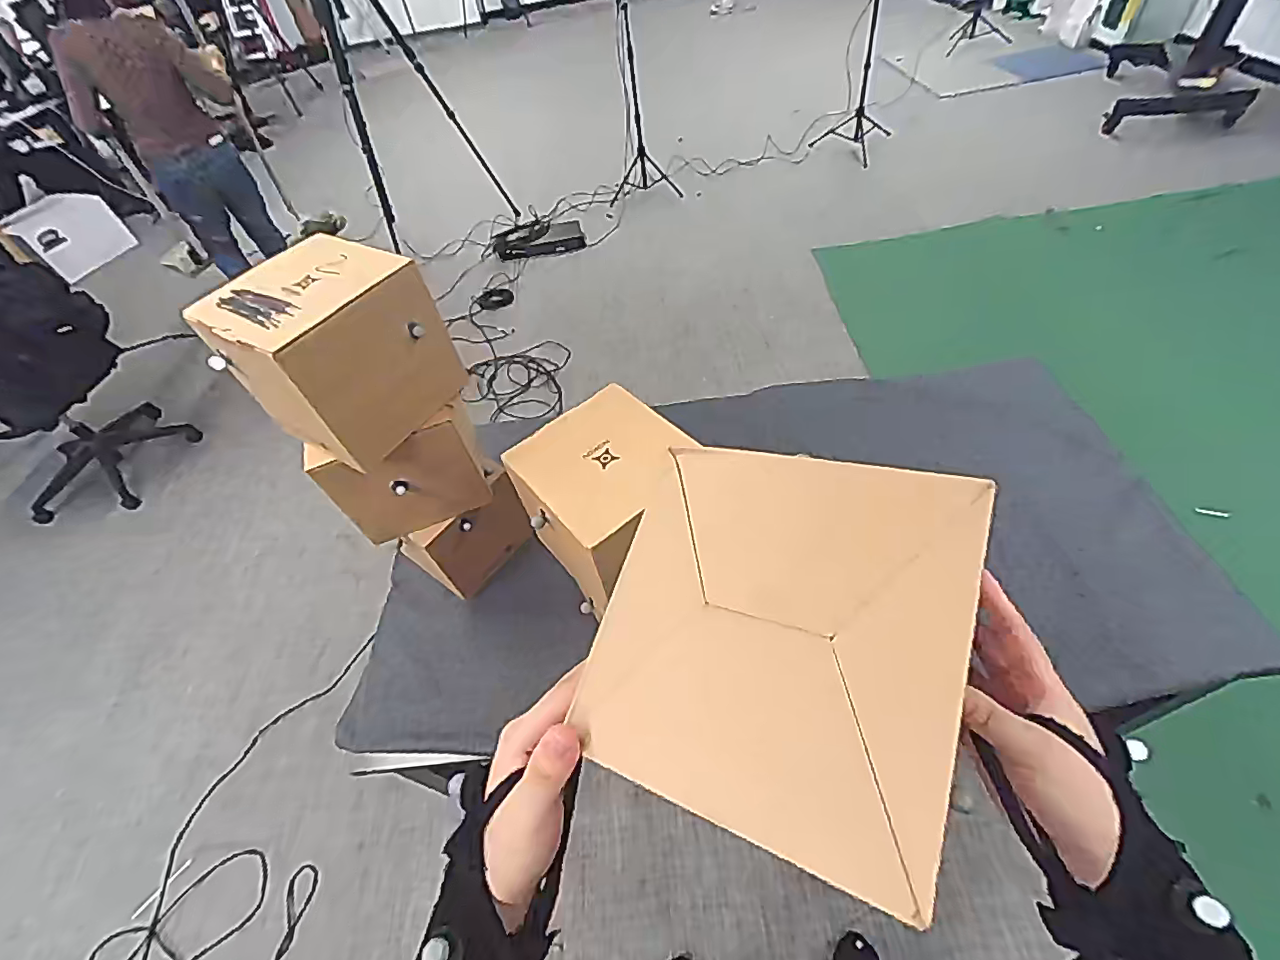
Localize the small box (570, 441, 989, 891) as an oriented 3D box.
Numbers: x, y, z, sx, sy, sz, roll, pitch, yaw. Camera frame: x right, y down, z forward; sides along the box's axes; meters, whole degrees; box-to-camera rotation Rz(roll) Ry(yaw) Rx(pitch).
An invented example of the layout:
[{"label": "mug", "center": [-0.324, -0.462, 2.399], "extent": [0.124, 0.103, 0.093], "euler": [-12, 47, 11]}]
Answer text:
[{"label": "small box", "center": [0.087, 0.099, 0.313], "extent": [0.168, 0.176, 0.179], "euler": [12, 71, 30]}]

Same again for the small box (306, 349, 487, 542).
[{"label": "small box", "center": [-0.325, -0.044, 0.747], "extent": [0.179, 0.176, 0.168], "euler": [-22, 52, -8]}]

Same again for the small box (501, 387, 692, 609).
[{"label": "small box", "center": [-0.029, 0.028, 0.639], "extent": [0.168, 0.176, 0.179], "euler": [-36, 54, -19]}]

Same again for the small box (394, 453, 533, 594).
[{"label": "small box", "center": [-0.304, 0.056, 0.877], "extent": [0.179, 0.176, 0.168], "euler": [27, 60, 27]}]
